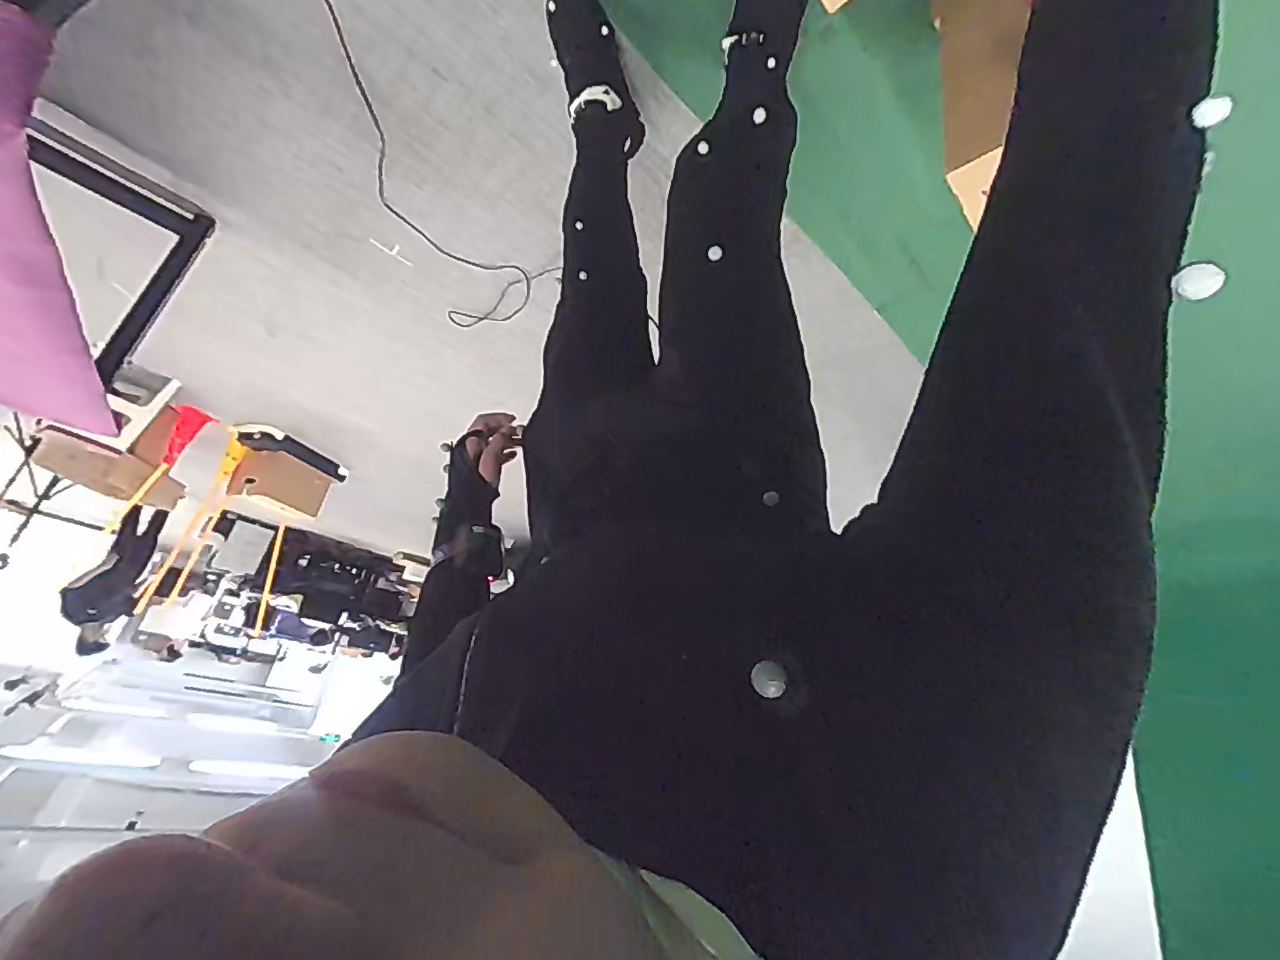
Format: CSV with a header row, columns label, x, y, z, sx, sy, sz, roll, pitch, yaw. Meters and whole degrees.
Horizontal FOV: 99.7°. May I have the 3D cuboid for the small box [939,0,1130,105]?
label,x,y,z,sx,sy,sz,roll,pitch,yaw
small box,0.514,-0.560,0.701,0.168,0.176,0.179,27,155,-35

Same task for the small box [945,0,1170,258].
label,x,y,z,sx,sy,sz,roll,pitch,yaw
small box,0.481,-0.411,0.637,0.168,0.176,0.179,29,153,-35
